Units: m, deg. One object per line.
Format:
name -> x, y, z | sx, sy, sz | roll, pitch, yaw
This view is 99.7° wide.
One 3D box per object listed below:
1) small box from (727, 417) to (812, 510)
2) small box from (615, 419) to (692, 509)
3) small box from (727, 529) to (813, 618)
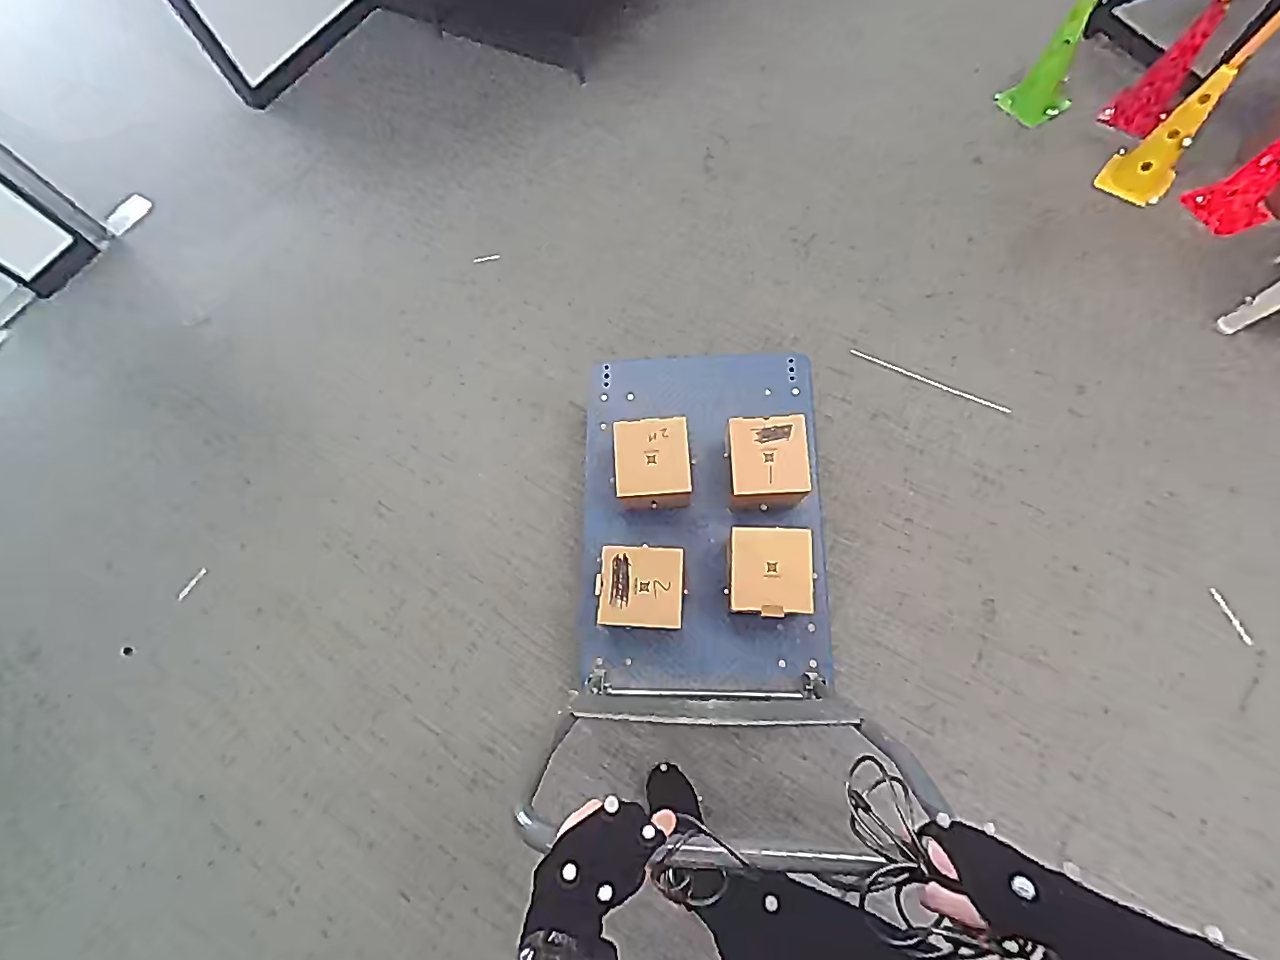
small box -> 0.289, -0.032, 1.242 | 0.168, 0.176, 0.179 | -2, 77, 6
small box -> 0.035, -0.029, 1.268 | 0.168, 0.176, 0.179 | -3, 76, 4
small box -> 0.279, 0.208, 1.188 | 0.168, 0.176, 0.179 | 1, 77, 6
